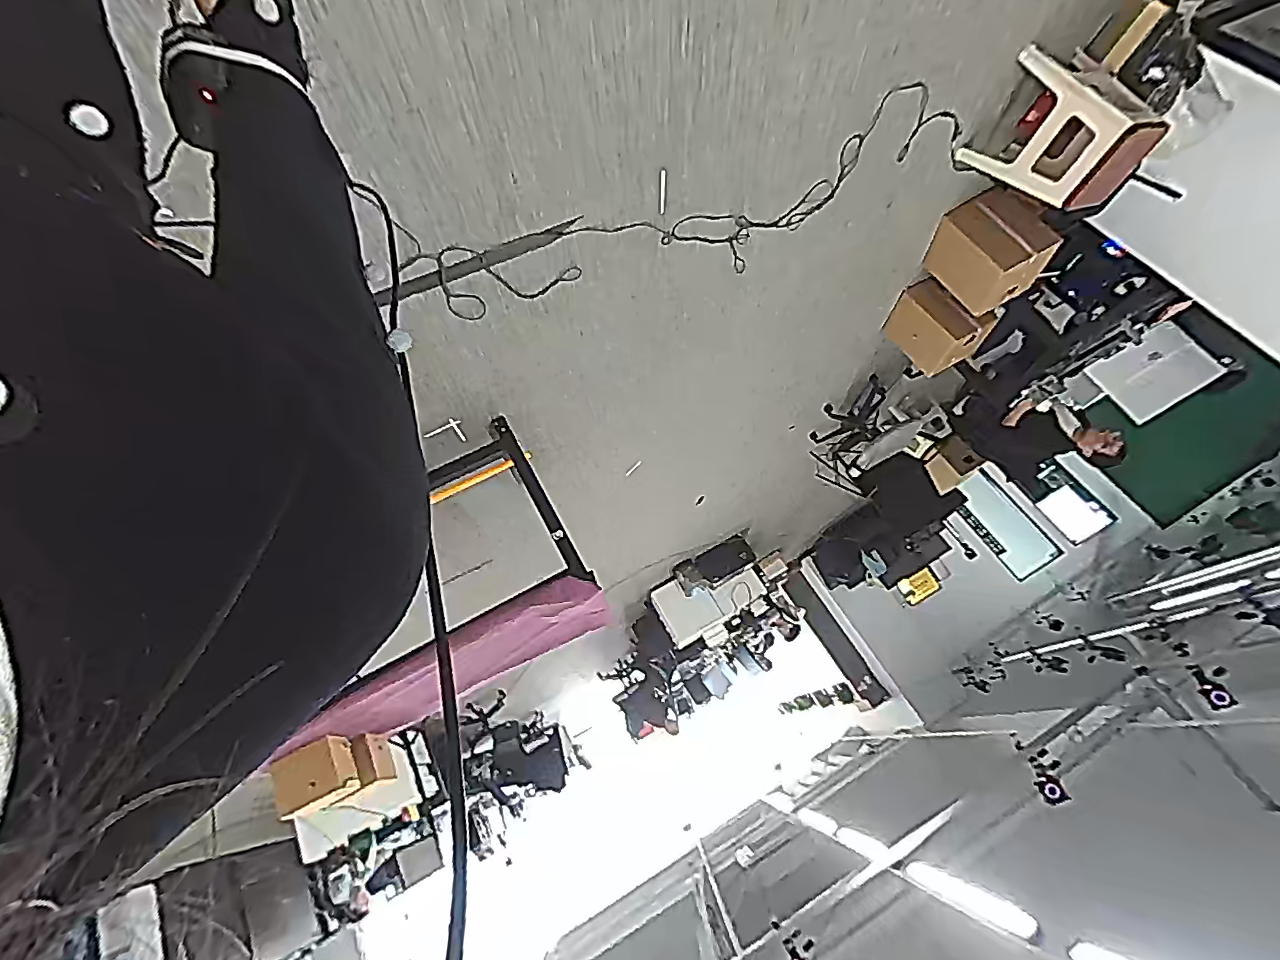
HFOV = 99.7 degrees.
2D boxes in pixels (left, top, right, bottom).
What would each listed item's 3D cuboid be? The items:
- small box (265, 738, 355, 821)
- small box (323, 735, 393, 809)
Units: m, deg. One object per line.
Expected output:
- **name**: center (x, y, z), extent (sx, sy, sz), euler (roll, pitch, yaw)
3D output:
- **small box**: center (-1.041, 0.939, 1.708), extent (0.179, 0.176, 0.168), euler (-24, 157, -17)
- **small box**: center (-1.018, 1.035, 1.922), extent (0.179, 0.176, 0.168), euler (-27, 155, -12)
